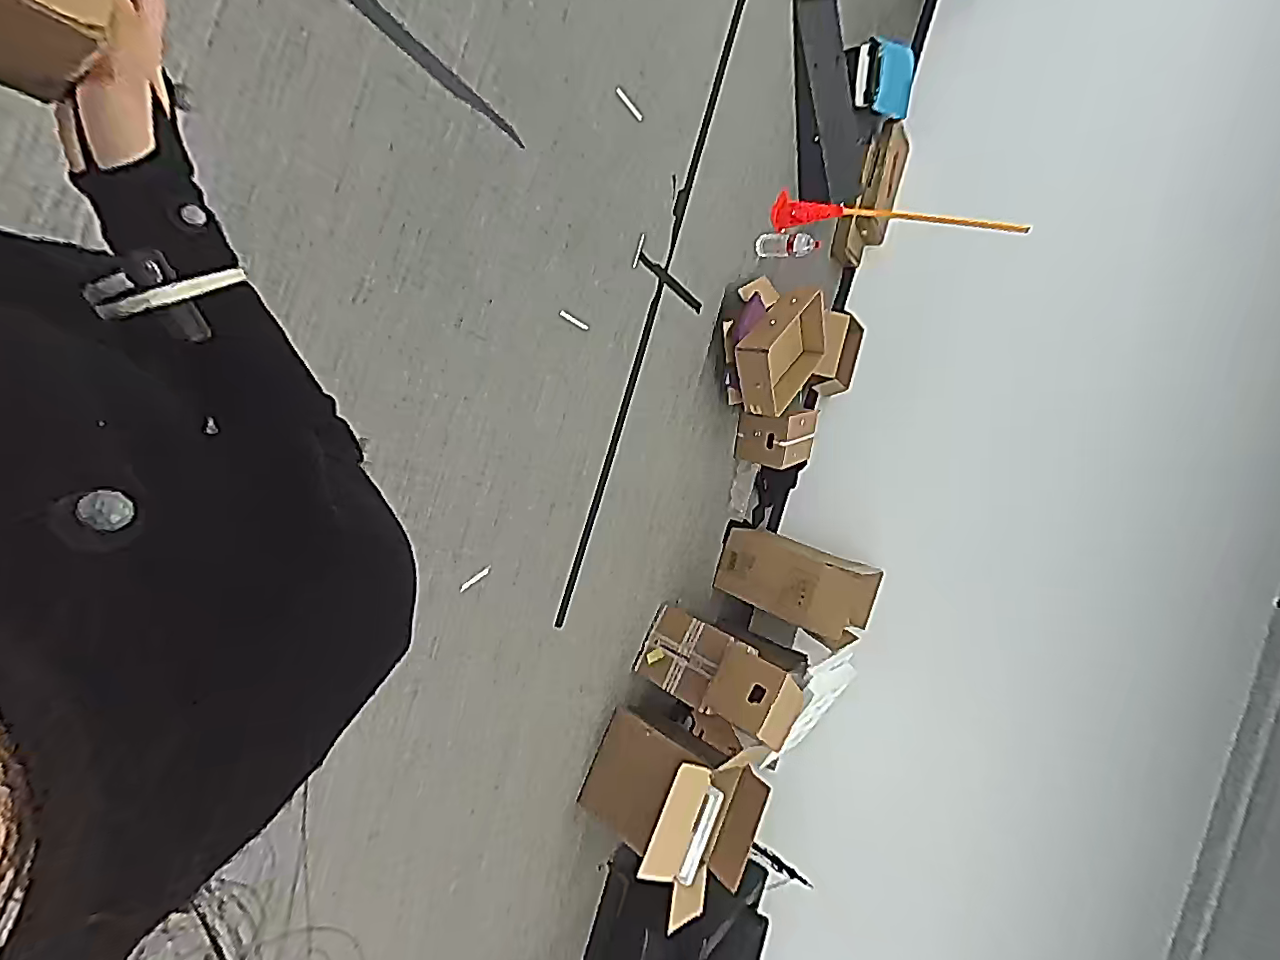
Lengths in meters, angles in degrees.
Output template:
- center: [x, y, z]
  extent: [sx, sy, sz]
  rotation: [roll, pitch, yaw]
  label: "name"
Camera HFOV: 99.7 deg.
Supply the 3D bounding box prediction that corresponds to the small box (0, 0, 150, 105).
- center: [-0.319, -0.299, 0.220]
  extent: [0.168, 0.176, 0.179]
  rotation: [6, 98, -54]
  label: "small box"
